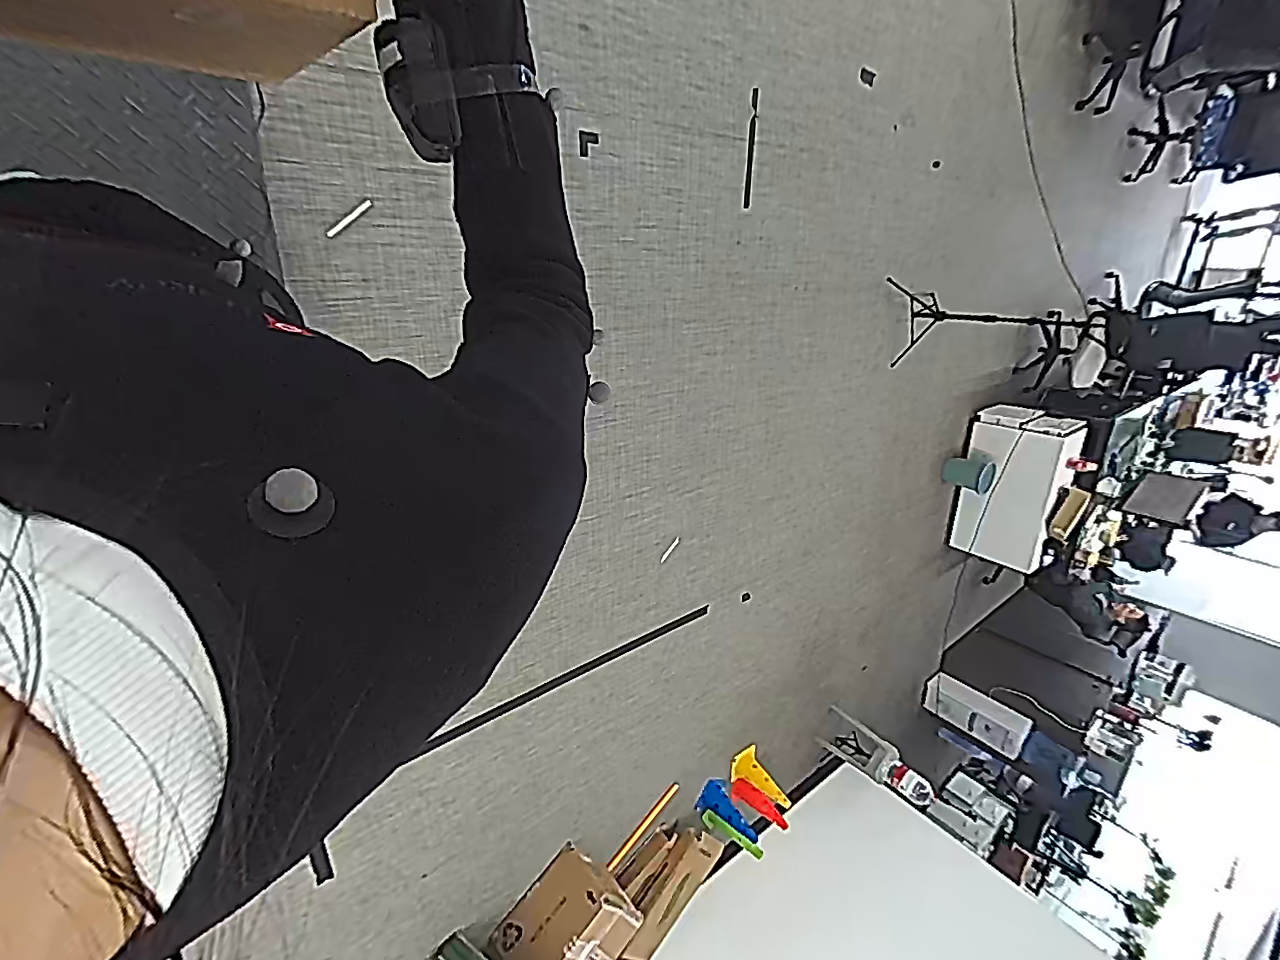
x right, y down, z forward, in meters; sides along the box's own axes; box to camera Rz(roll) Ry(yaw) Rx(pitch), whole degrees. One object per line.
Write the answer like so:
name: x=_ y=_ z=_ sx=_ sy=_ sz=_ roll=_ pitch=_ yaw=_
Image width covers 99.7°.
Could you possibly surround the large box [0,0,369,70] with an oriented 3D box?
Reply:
large box: x=-0.388 y=-0.401 z=0.216 sx=0.408 sy=0.320 sz=0.320 roll=-18 pitch=126 yaw=-36
